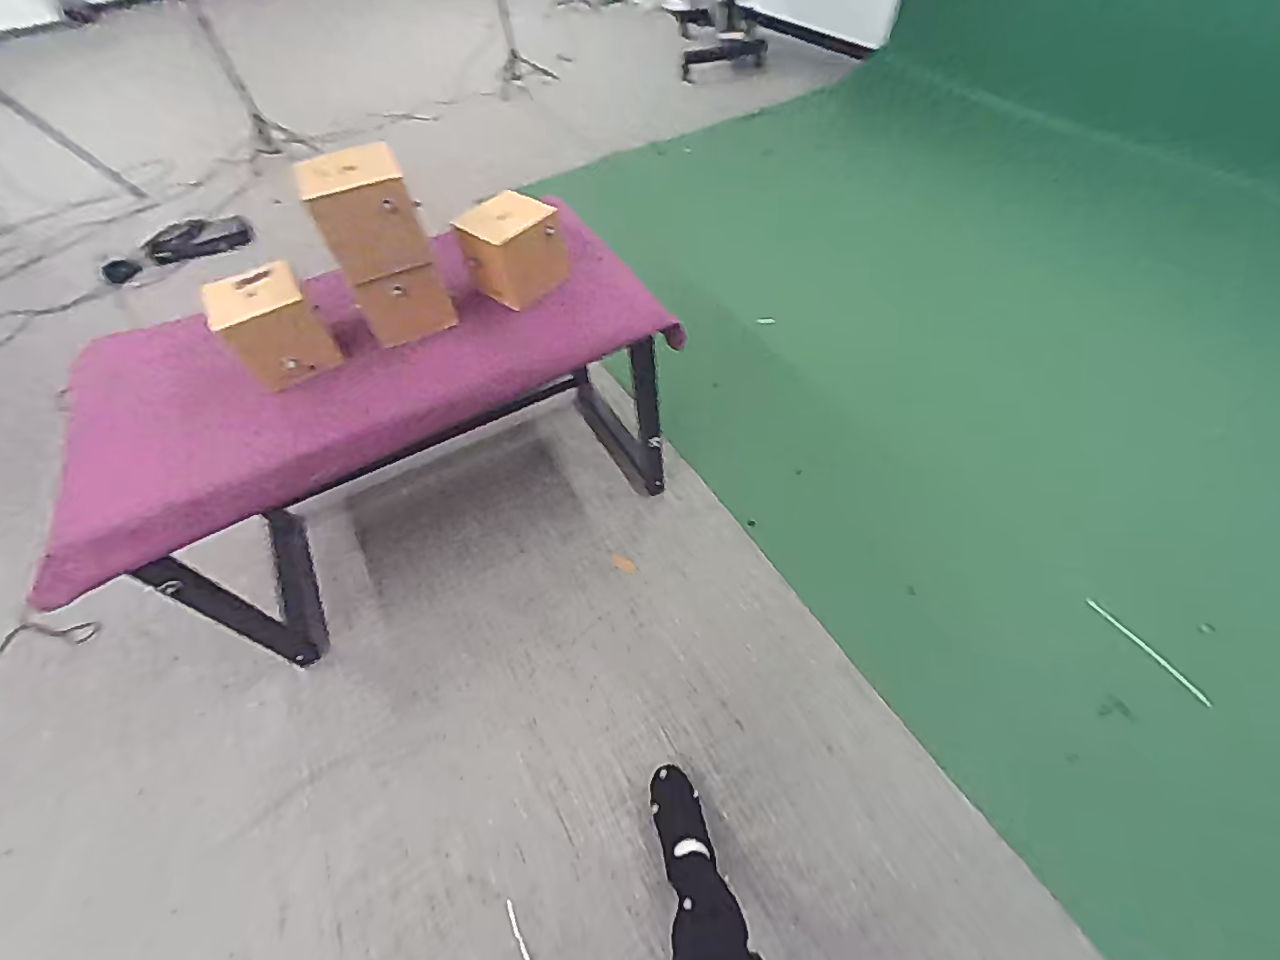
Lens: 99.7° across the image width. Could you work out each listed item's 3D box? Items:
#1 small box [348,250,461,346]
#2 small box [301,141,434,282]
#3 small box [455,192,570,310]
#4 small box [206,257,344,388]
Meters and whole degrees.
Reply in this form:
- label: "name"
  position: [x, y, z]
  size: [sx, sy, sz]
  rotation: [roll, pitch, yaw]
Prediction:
- label: "small box"
  position: [-0.515, -0.420, 1.177]
  size: [0.179, 0.176, 0.168]
  rotation: [-22, 56, -12]
- label: "small box"
  position: [-0.515, -0.514, 1.042]
  size: [0.179, 0.176, 0.168]
  rotation: [-22, 55, -11]
- label: "small box"
  position: [-0.282, -0.518, 1.234]
  size: [0.168, 0.176, 0.179]
  rotation: [34, 63, 26]
- label: "small box"
  position: [-0.748, -0.322, 1.119]
  size: [0.168, 0.176, 0.179]
  rotation: [-28, 57, -16]
